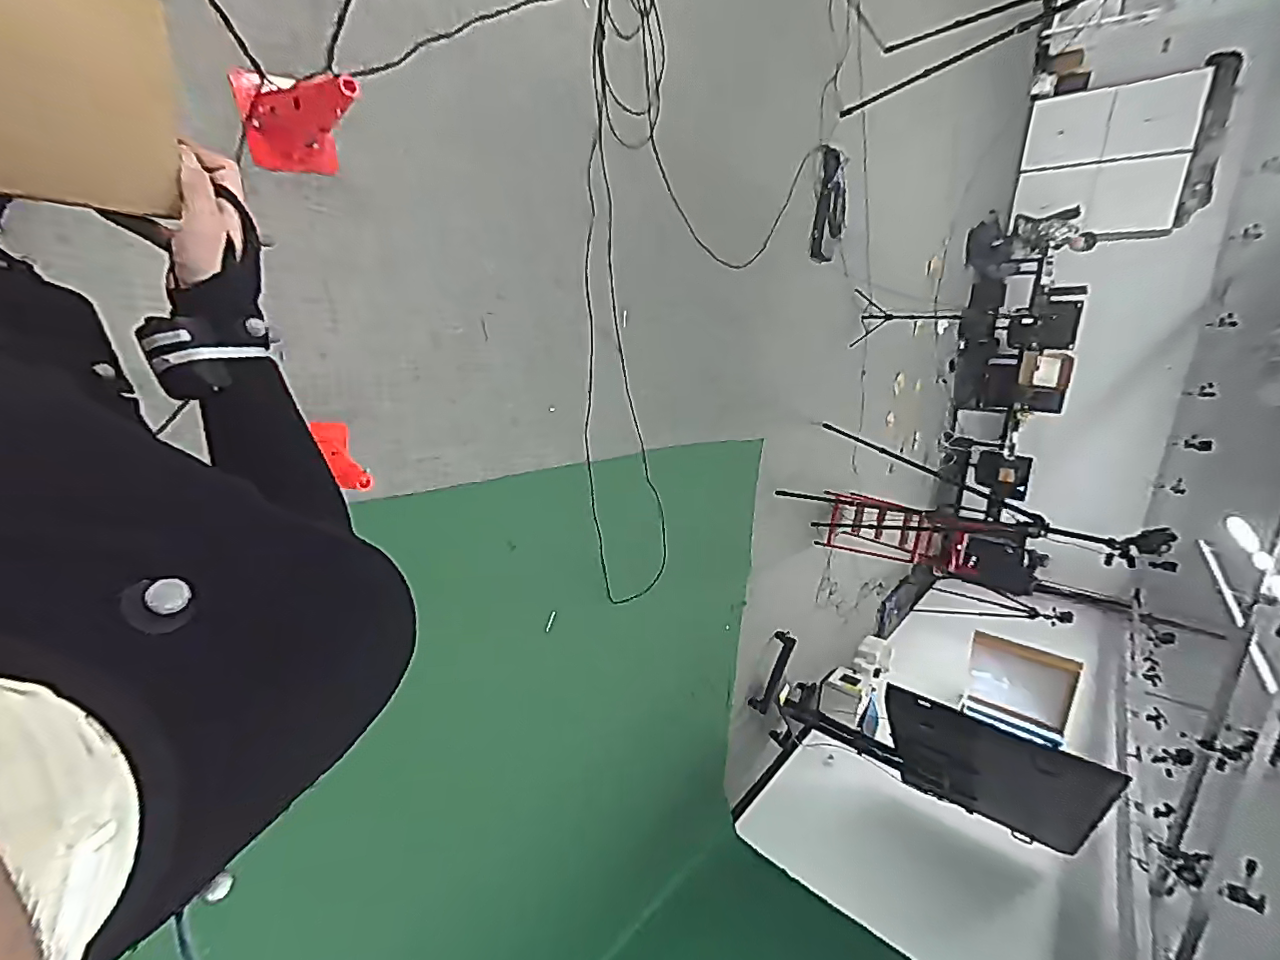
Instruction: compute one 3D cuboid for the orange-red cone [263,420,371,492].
[{"bbox_3d":[-0.790,-0.028,1.389,0.199,0.360,0.198,-2,104,-52],"label":"orange-red cone"}]
